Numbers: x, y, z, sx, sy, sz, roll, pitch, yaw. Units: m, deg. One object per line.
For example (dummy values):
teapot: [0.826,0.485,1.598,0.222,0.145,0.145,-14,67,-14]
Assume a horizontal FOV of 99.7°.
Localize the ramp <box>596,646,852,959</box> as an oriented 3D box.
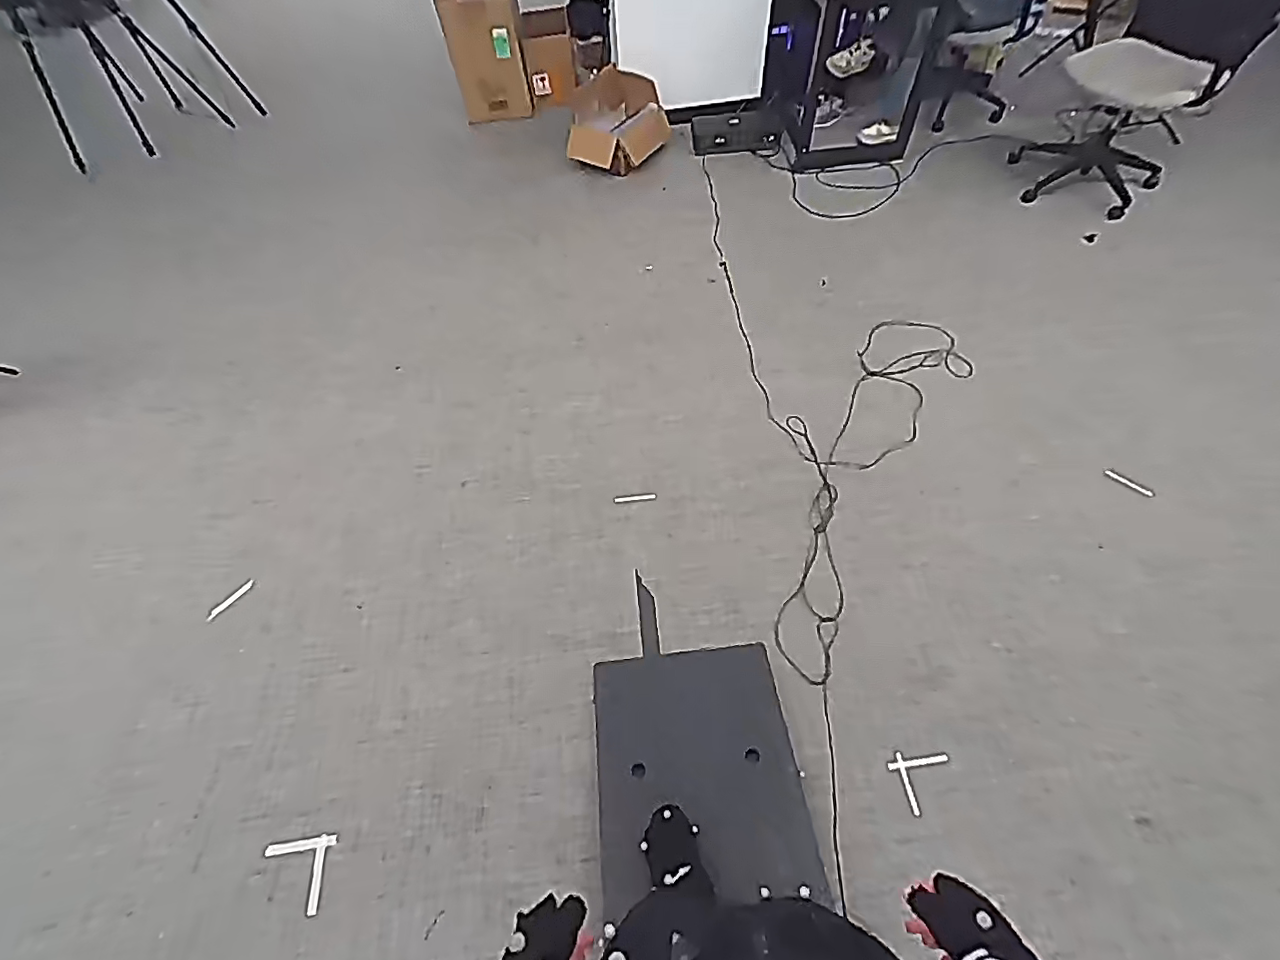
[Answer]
ramp: [0.163,0.865,1.199,0.509,0.206,0.991,-9,57,-1]
